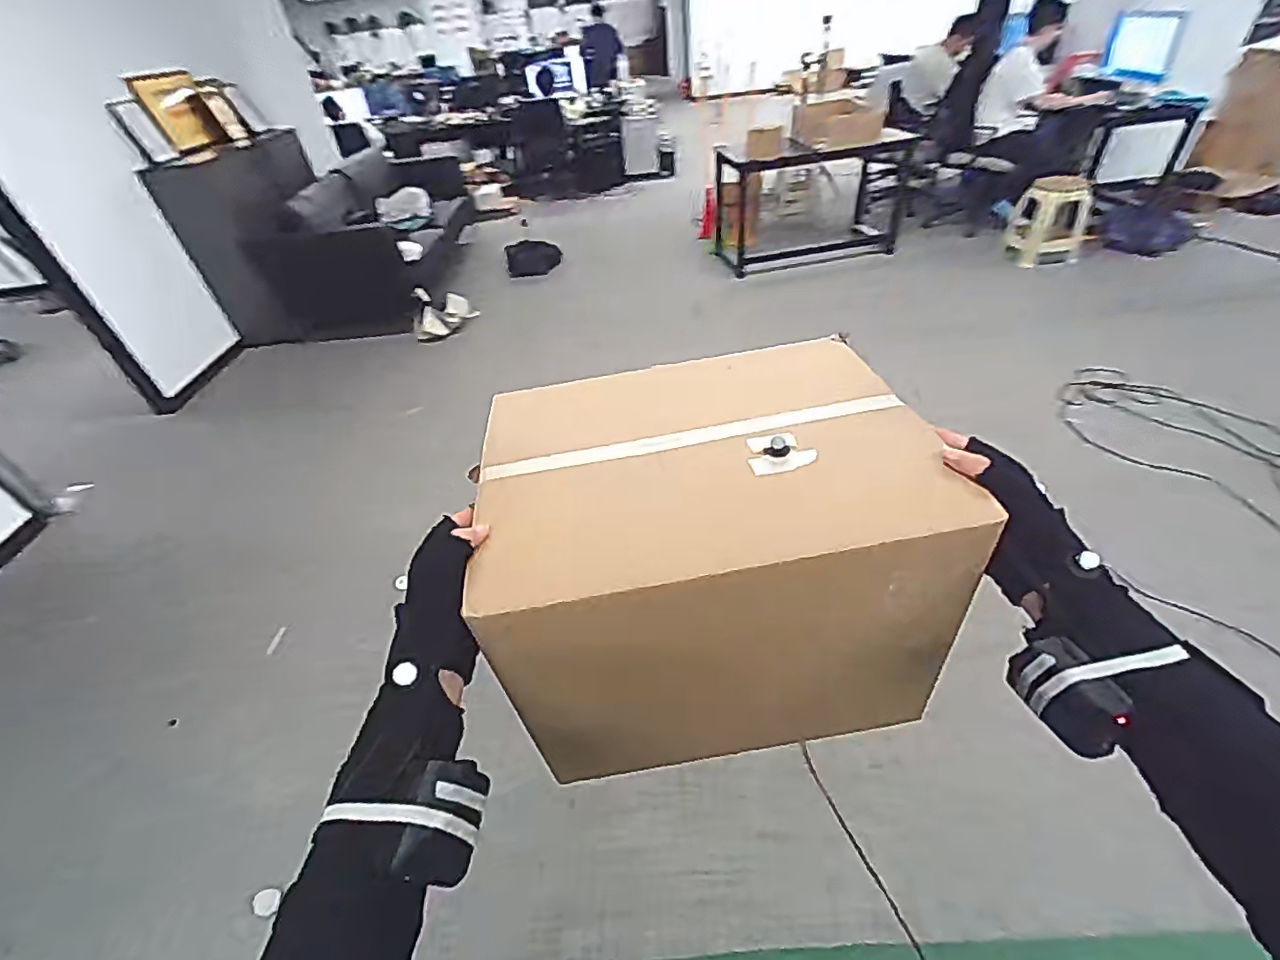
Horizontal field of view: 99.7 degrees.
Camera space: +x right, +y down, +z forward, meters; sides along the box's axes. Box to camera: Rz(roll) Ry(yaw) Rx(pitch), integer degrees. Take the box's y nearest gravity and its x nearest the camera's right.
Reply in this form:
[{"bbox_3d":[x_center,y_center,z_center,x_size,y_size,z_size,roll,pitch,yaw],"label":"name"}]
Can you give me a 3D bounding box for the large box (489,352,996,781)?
[{"bbox_3d":[0.077,0.089,0.614,0.408,0.320,0.320,-9,40,-1],"label":"large box"}]
